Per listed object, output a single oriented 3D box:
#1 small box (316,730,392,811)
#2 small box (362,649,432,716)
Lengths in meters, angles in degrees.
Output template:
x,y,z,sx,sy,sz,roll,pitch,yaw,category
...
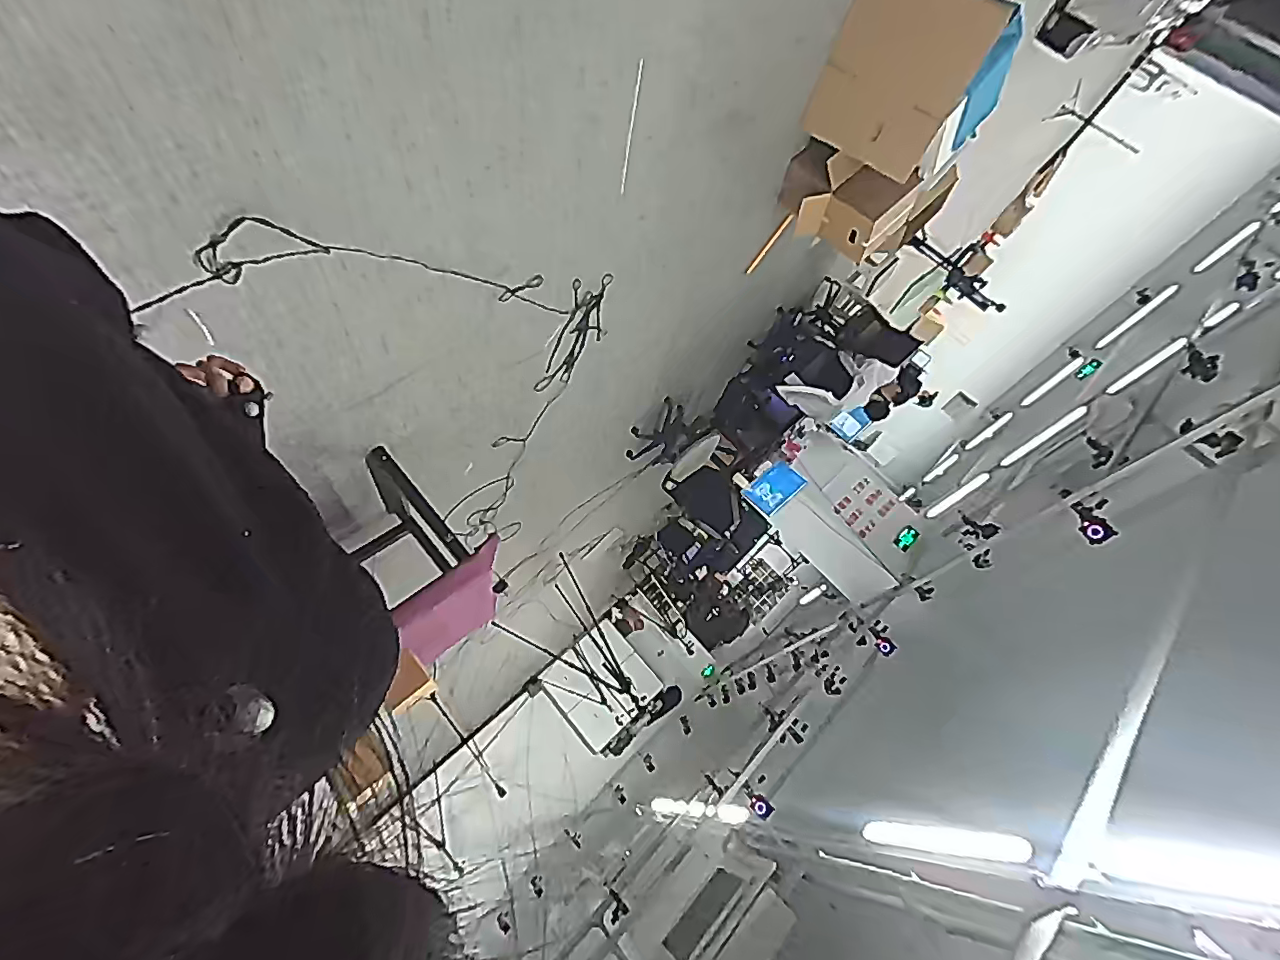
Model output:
x,y,z,sx,sy,sz,roll,pitch,yaw,category
-0.999,1.011,1.885,0.179,0.176,0.168,-35,163,-34,small box
-0.927,0.773,2.072,0.168,0.176,0.179,-37,163,-26,small box
